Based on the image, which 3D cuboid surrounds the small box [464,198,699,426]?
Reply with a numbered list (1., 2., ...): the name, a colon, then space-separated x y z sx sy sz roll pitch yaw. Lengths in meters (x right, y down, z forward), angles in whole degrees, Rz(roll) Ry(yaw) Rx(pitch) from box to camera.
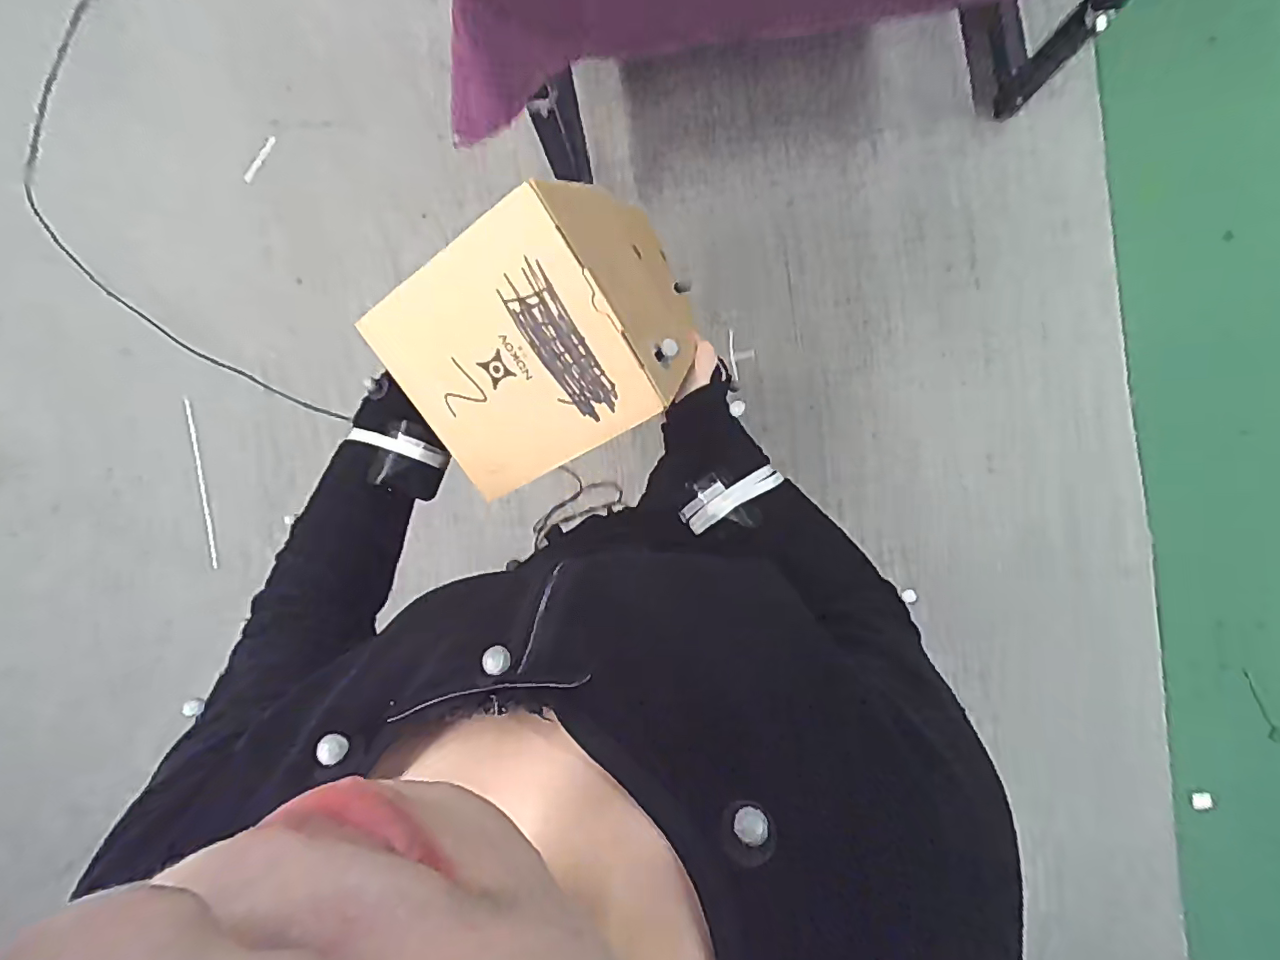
1. small box: -0.051 -0.187 0.604 0.179 0.176 0.168 -22 109 22
